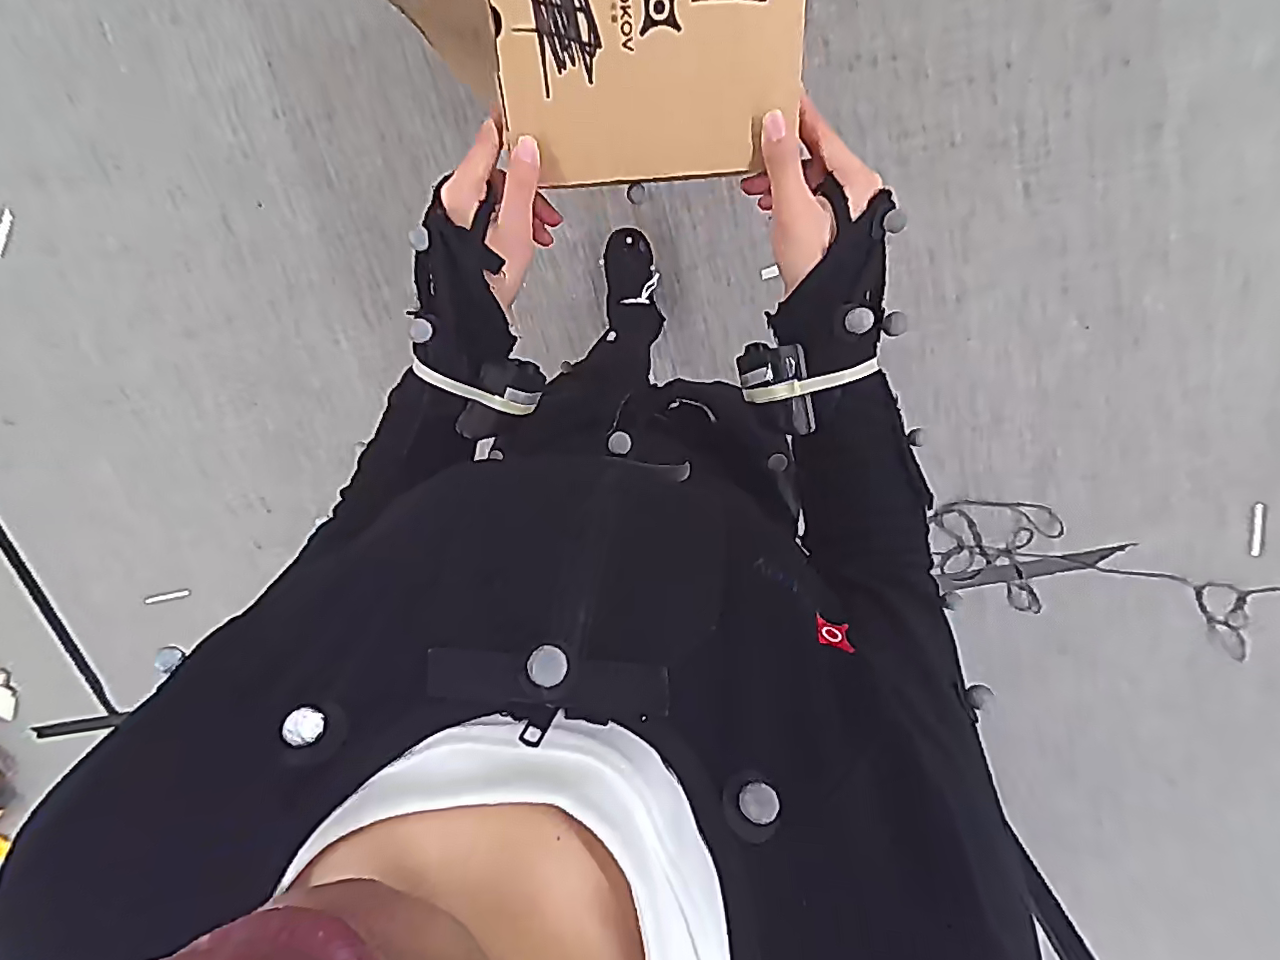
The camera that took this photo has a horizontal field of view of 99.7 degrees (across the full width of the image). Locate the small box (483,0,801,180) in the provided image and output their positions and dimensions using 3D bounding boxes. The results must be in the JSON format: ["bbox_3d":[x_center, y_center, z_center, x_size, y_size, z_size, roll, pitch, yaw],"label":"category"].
[{"bbox_3d":[0.004,-0.300,0.361,0.179,0.176,0.168,-2,118,4],"label":"small box"}]
